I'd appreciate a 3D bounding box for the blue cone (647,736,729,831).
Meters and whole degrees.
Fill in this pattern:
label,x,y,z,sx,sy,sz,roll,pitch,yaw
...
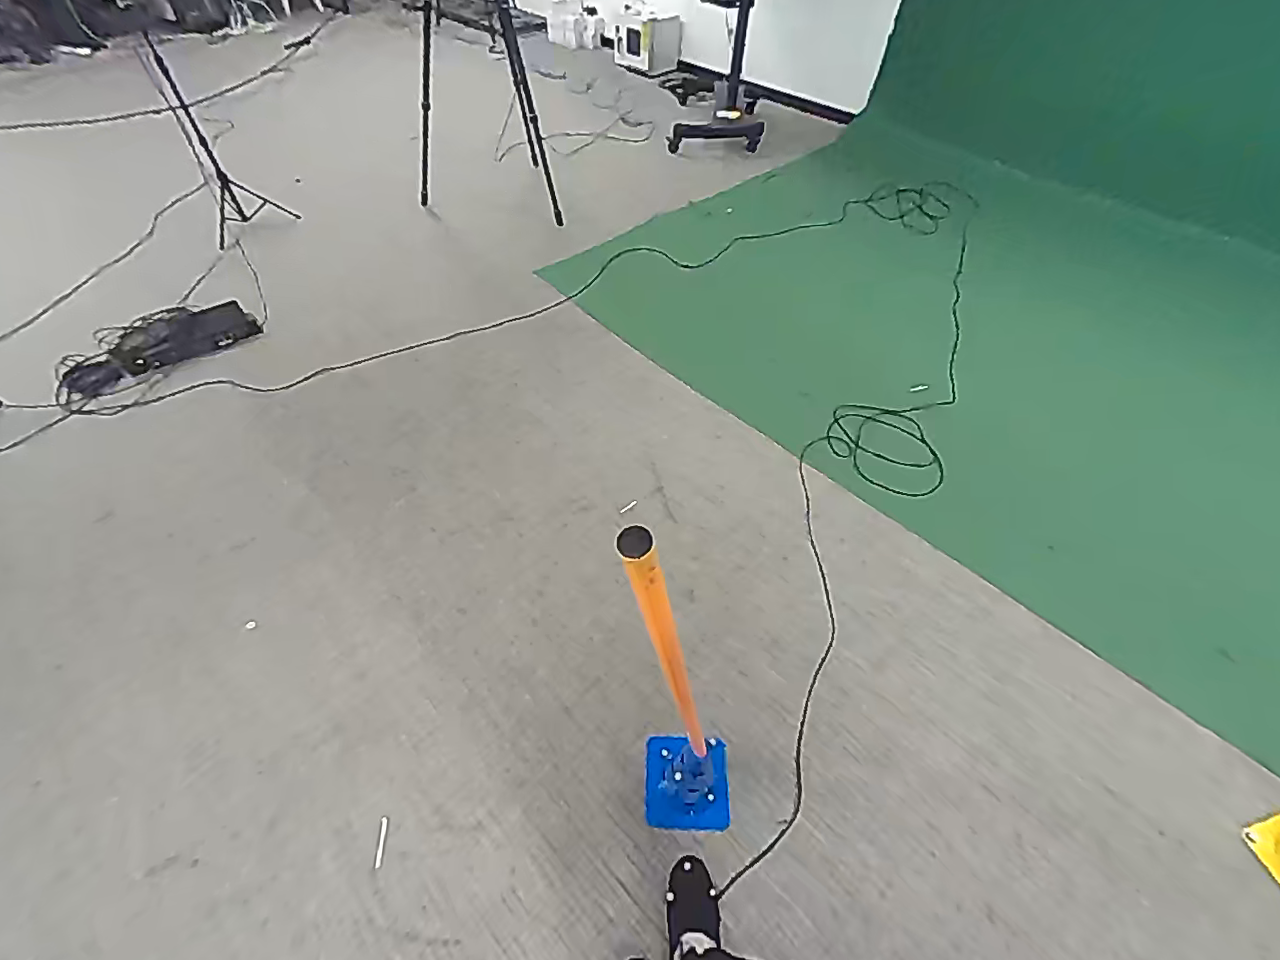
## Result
label,x,y,z,sx,sy,sz,roll,pitch,yaw
blue cone,0.112,0.626,1.163,0.193,0.380,0.192,0,52,1
